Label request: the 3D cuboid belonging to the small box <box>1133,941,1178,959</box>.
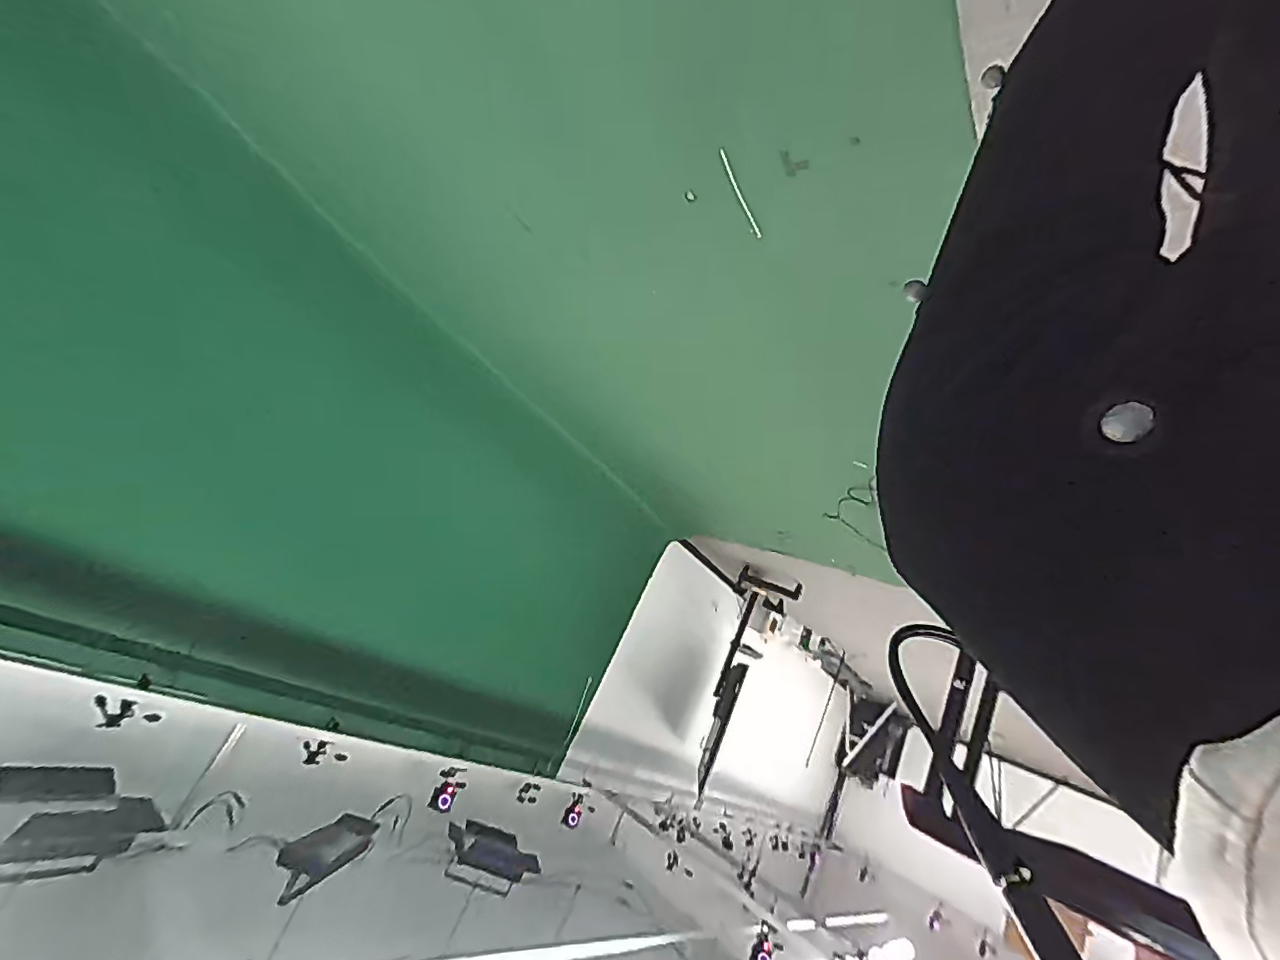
[{"bbox_3d":[1.292,1.247,1.289,0.179,0.176,0.168,8,155,44],"label":"small box"}]
